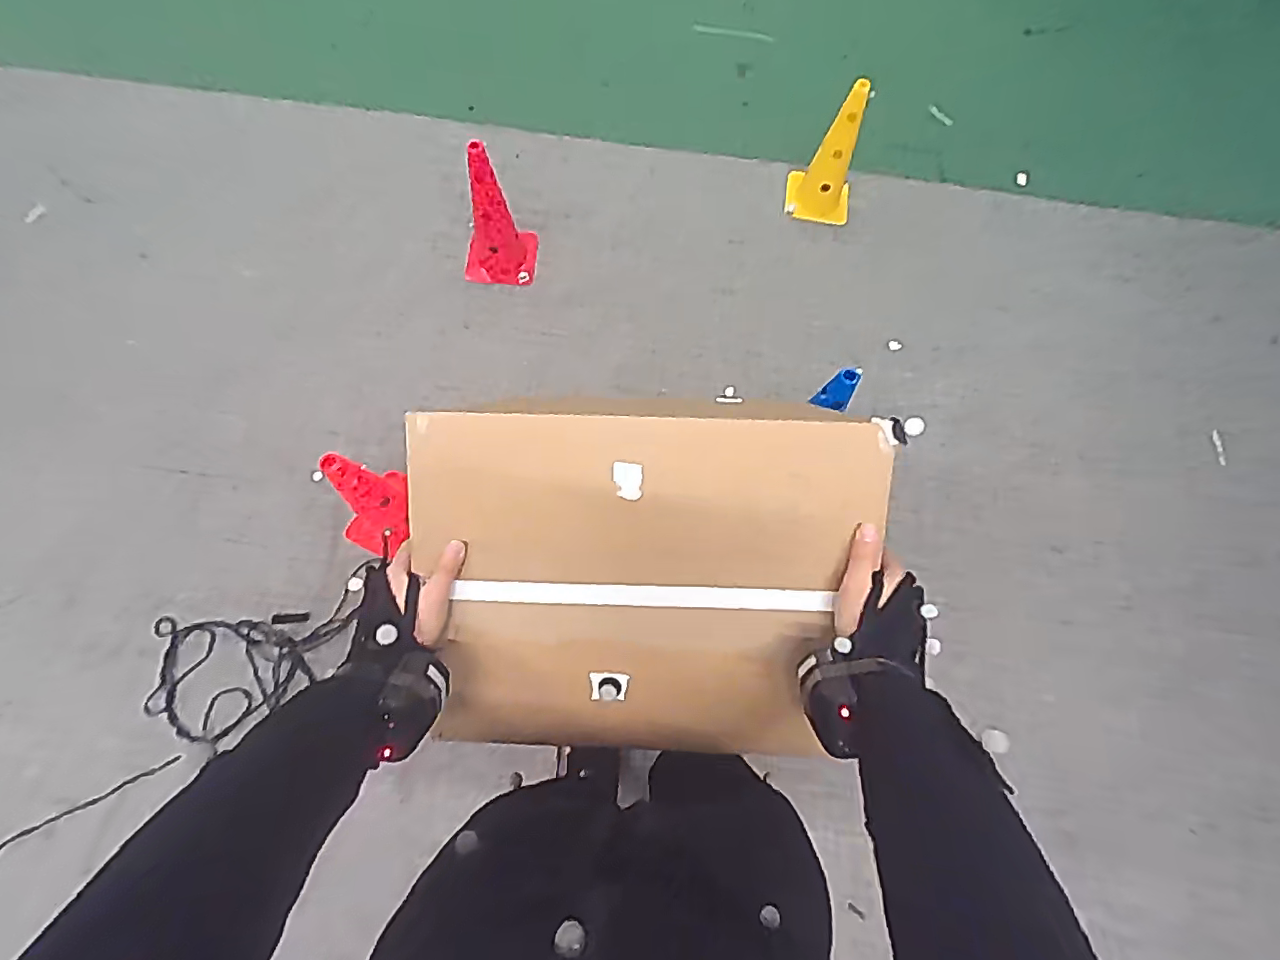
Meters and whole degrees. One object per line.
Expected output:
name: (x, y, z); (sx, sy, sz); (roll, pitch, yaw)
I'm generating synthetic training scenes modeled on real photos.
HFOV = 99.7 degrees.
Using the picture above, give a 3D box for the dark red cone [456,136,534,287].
dark red cone: (-0.416, -0.717, 1.451); (0.202, 0.394, 0.201); (0, 64, -1)

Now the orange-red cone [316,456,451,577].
orange-red cone: (-0.580, 0.045, 1.148); (0.199, 0.360, 0.198); (25, 68, 10)
